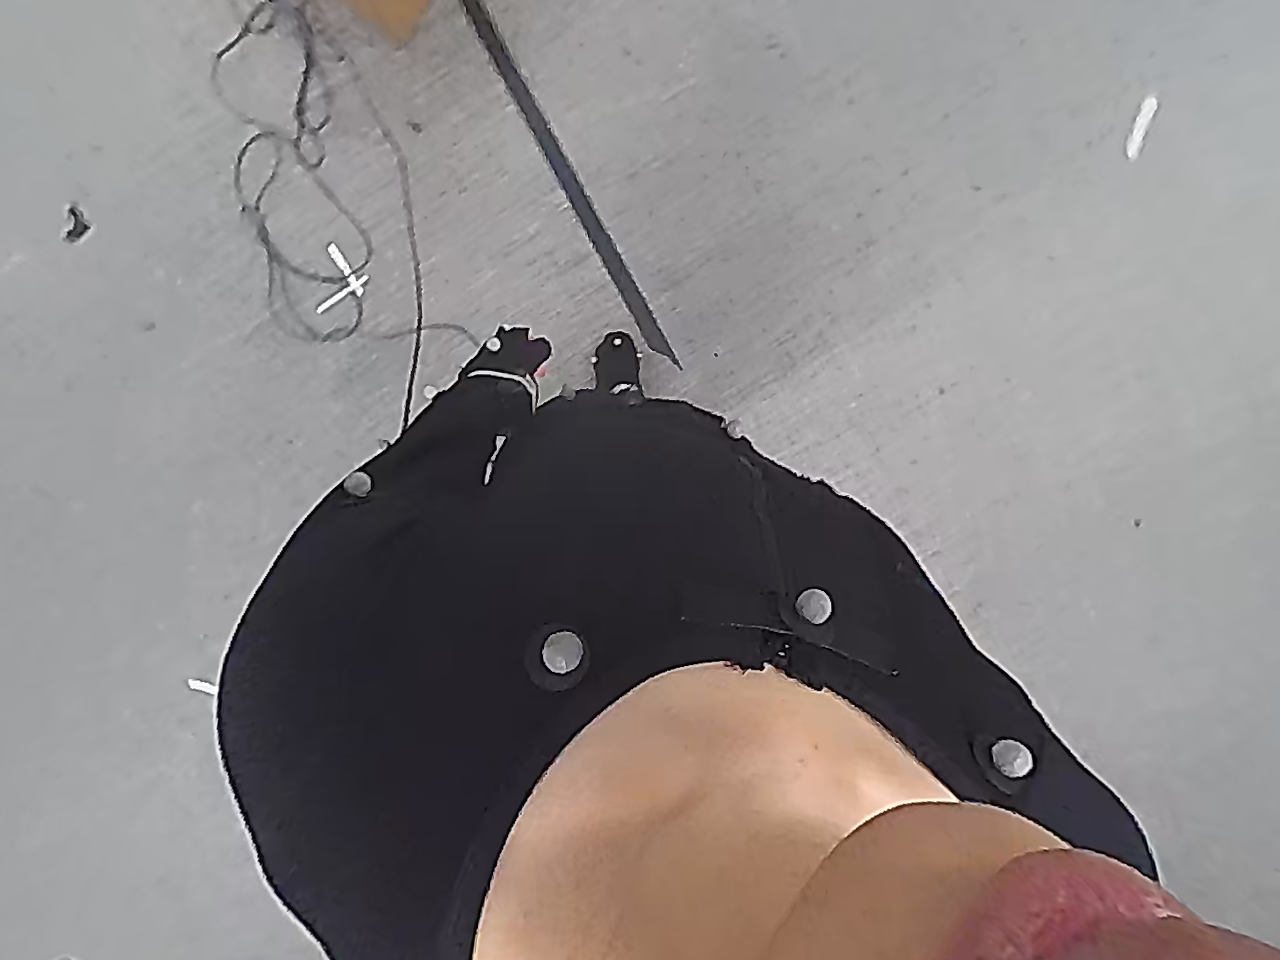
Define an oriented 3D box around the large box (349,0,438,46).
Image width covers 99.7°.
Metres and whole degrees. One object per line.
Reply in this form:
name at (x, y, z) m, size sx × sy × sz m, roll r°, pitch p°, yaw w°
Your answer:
large box at (-0.558, -1.260, 1.116) m, size 0.320 × 0.320 × 0.408 m, roll 35°, pitch 98°, yaw -7°
